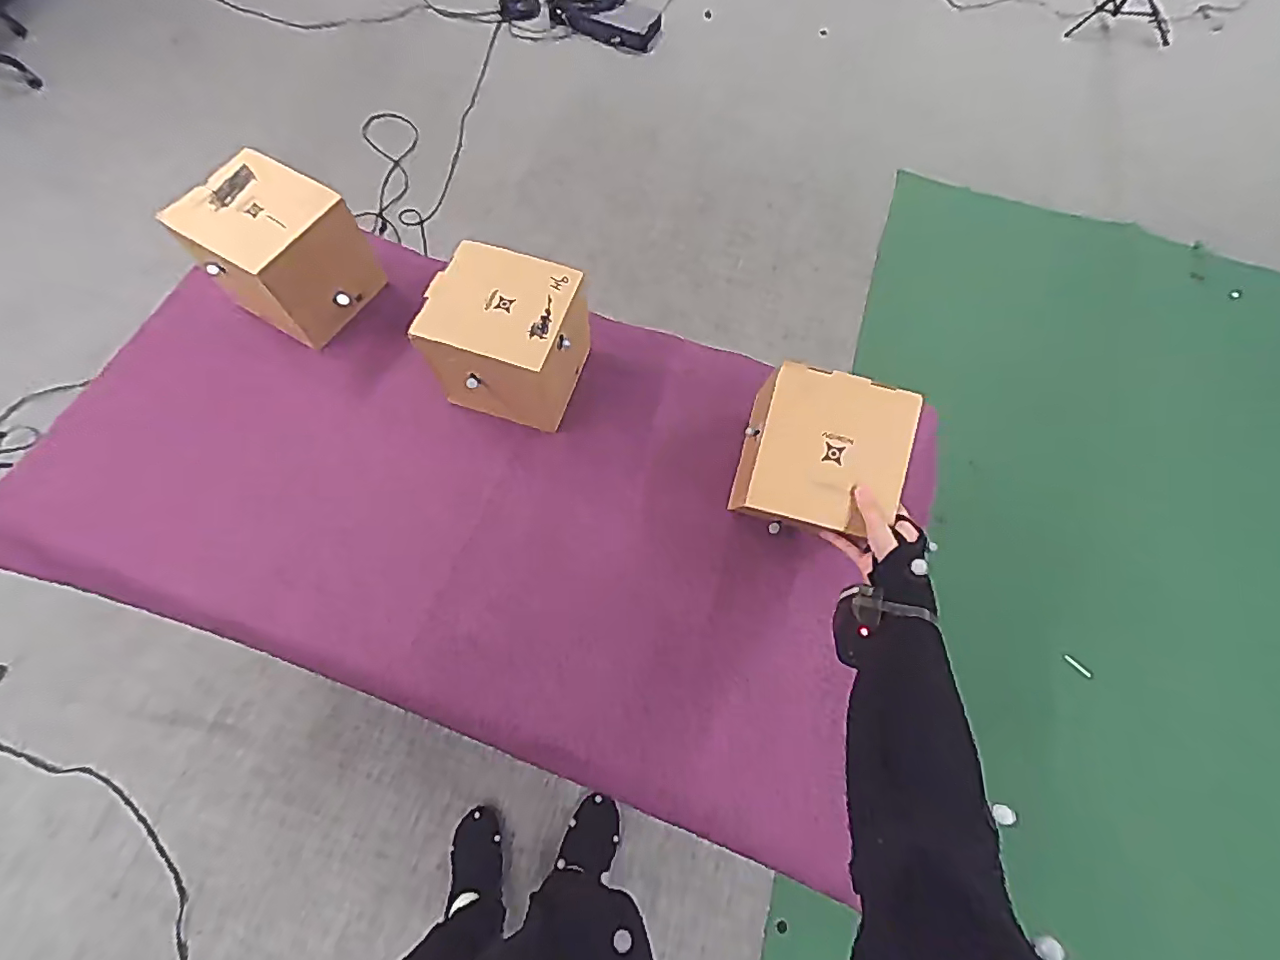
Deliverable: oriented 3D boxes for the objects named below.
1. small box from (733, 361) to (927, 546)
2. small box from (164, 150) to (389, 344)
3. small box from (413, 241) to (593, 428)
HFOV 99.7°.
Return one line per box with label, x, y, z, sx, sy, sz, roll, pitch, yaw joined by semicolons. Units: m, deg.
small box;0.223;-0.025;0.682;0.168;0.176;0.179;16;86;3
small box;-0.516;-0.333;0.797;0.179;0.176;0.168;29;70;8
small box;-0.176;-0.194;0.758;0.179;0.176;0.168;17;69;5
